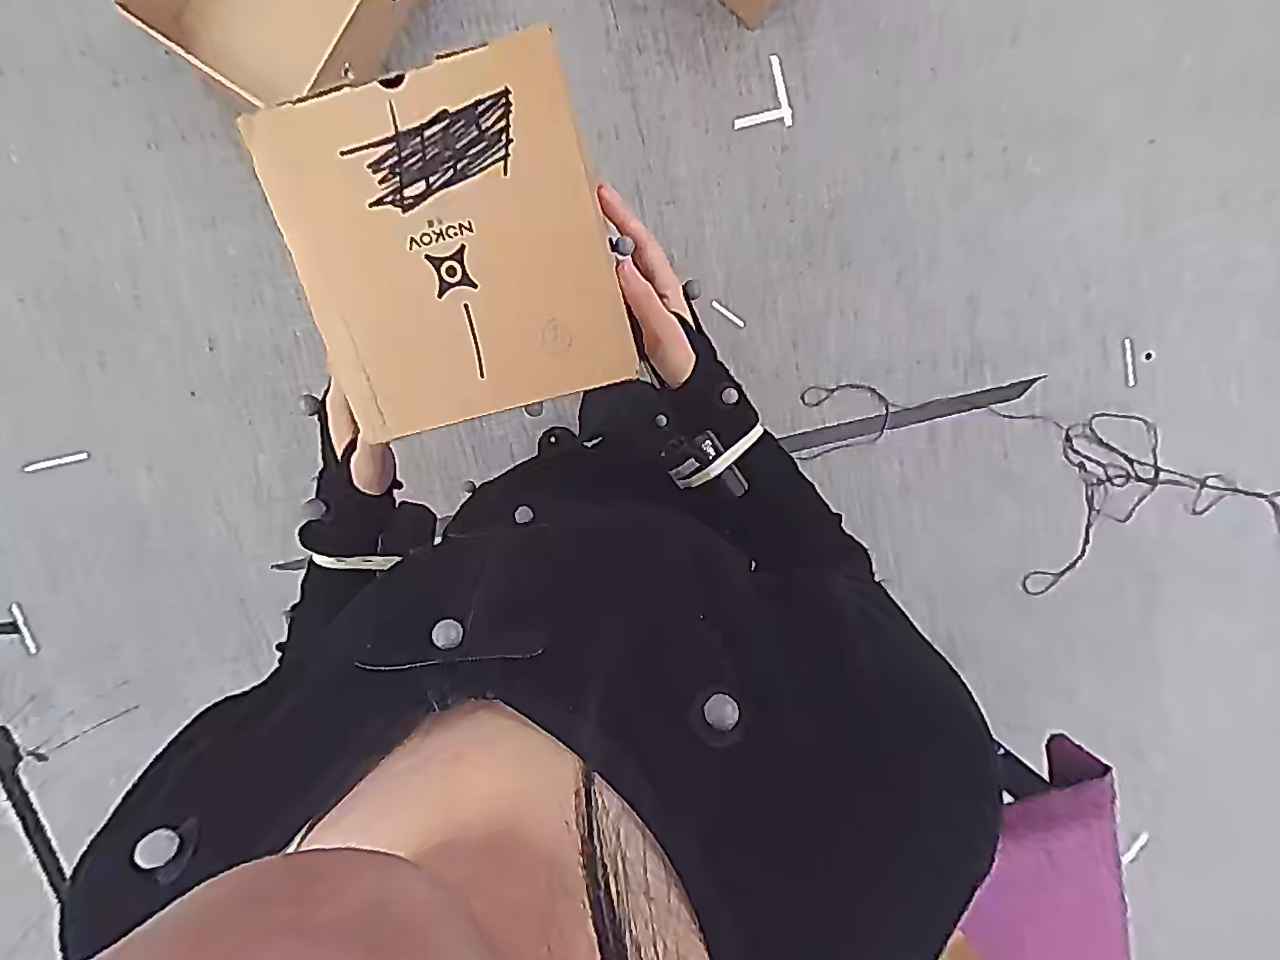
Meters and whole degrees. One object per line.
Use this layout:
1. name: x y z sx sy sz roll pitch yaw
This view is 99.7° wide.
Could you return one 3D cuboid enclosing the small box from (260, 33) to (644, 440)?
1. small box: -0.097 -0.142 0.371 0.168 0.176 0.179 -15 104 5
